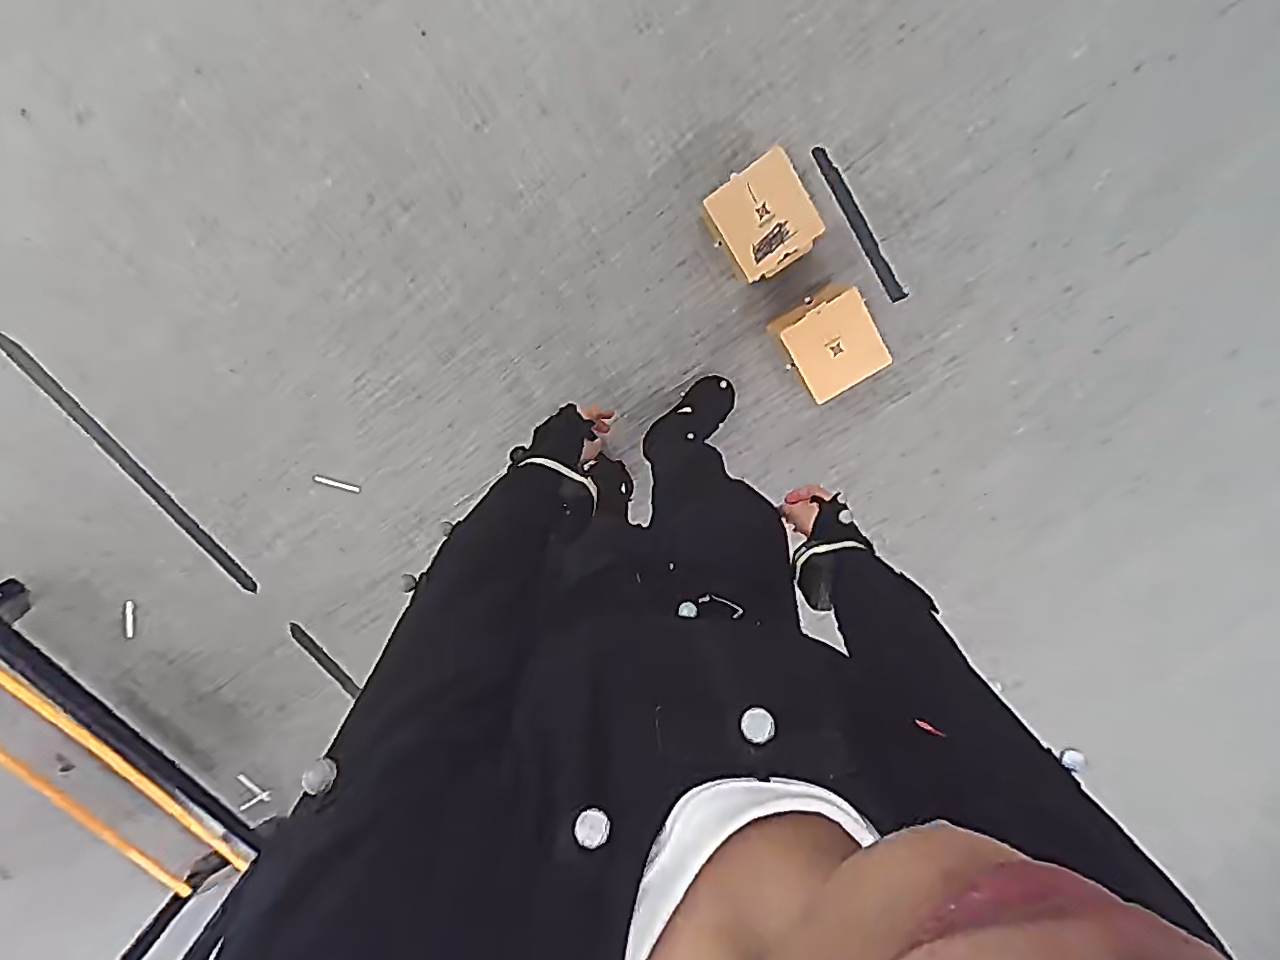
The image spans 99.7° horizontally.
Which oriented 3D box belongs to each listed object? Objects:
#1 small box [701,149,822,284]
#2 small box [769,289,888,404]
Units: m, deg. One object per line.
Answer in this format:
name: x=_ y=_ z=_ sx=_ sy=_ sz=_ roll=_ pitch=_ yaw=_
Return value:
small box: x=0.236 y=-0.516 z=1.084 sx=0.168 sy=0.176 sz=0.179 roll=-31 pitch=104 yaw=14
small box: x=0.395 y=-0.293 z=1.157 sx=0.168 sy=0.176 sz=0.179 roll=-30 pitch=105 yaw=14
